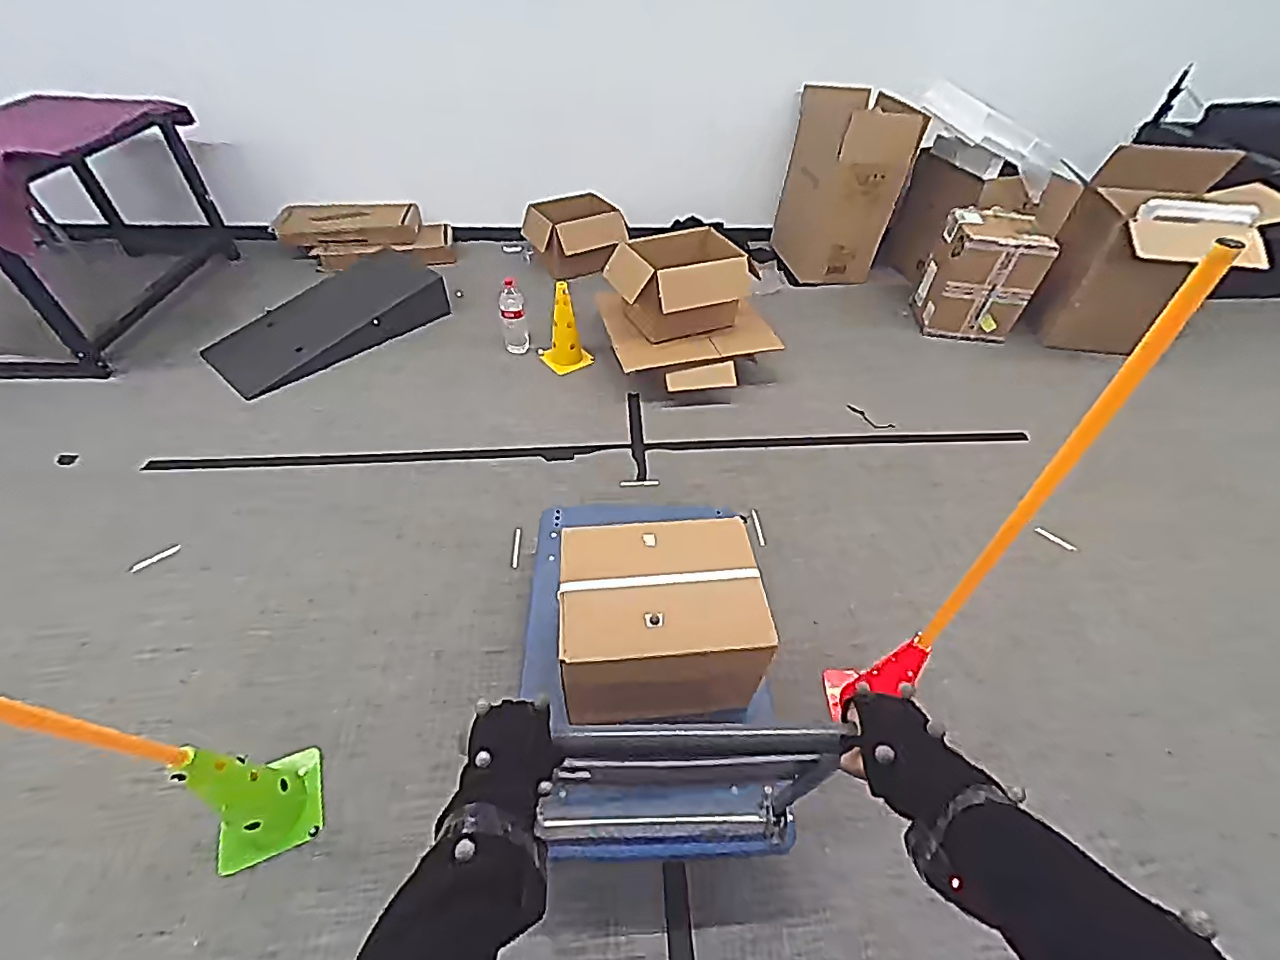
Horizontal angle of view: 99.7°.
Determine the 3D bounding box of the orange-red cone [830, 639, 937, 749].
[{"bbox_3d":[0.613,0.475,1.284,0.199,0.360,0.198,4,47,0],"label":"orange-red cone"}]
